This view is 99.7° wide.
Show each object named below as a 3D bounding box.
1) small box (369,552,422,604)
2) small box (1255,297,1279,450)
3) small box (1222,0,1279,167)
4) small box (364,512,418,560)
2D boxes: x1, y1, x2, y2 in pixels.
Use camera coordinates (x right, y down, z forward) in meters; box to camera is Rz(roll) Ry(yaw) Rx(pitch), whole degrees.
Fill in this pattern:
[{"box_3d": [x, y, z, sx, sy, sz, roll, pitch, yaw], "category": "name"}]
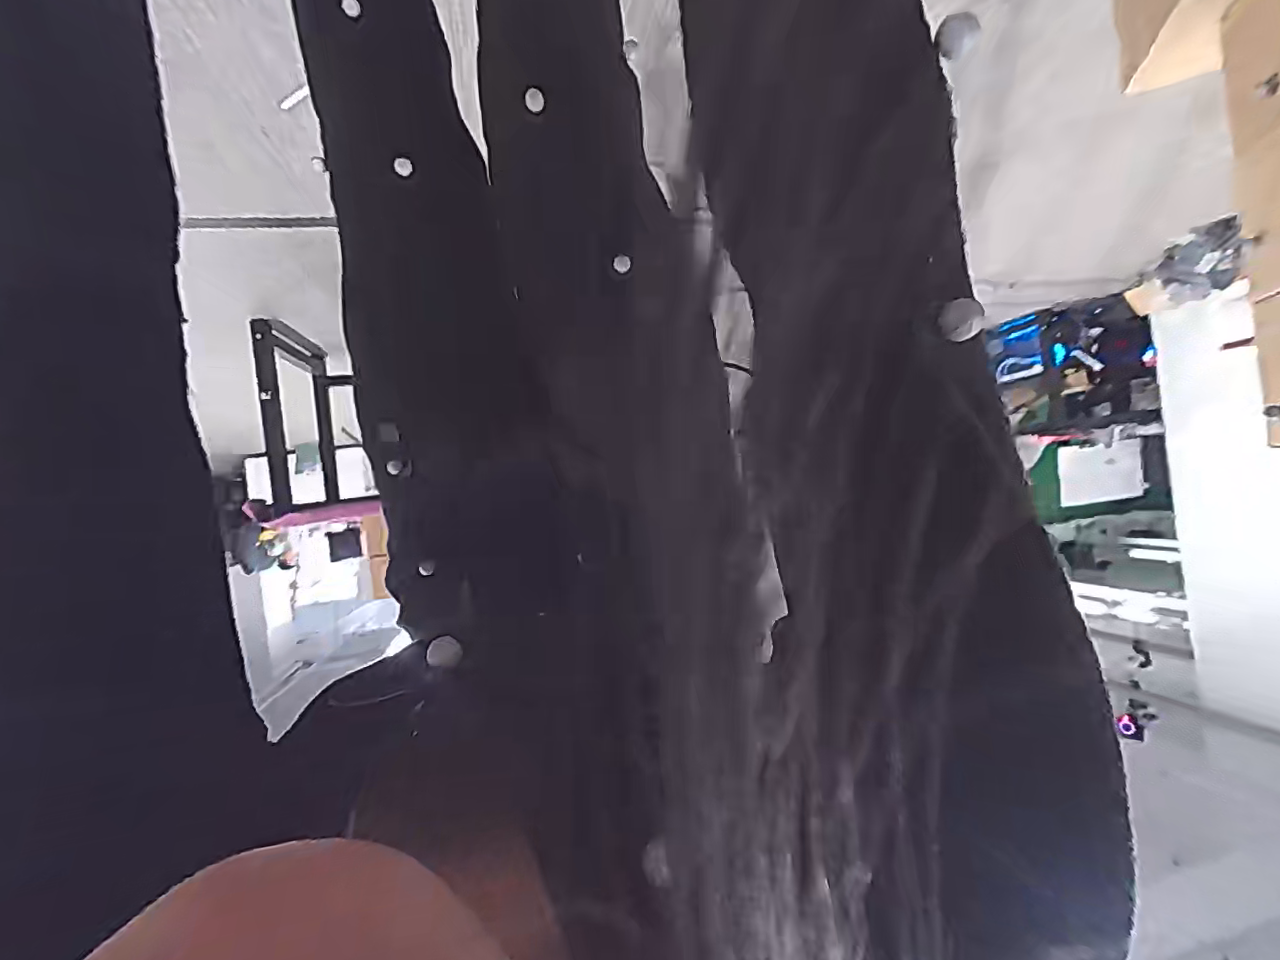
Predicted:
[{"box_3d": [-0.967, 0.380, 2.143, 0.168, 0.176, 0.179, -7, 180, -18], "category": "small box"}, {"box_3d": [0.746, -0.122, 0.516, 0.168, 0.176, 0.179, -7, 180, 27], "category": "small box"}, {"box_3d": [0.710, -0.449, 0.518, 0.168, 0.176, 0.179, -6, -179, 28], "category": "small box"}, {"box_3d": [-0.988, 0.218, 2.151, 0.168, 0.176, 0.179, -7, 179, -16], "category": "small box"}]
